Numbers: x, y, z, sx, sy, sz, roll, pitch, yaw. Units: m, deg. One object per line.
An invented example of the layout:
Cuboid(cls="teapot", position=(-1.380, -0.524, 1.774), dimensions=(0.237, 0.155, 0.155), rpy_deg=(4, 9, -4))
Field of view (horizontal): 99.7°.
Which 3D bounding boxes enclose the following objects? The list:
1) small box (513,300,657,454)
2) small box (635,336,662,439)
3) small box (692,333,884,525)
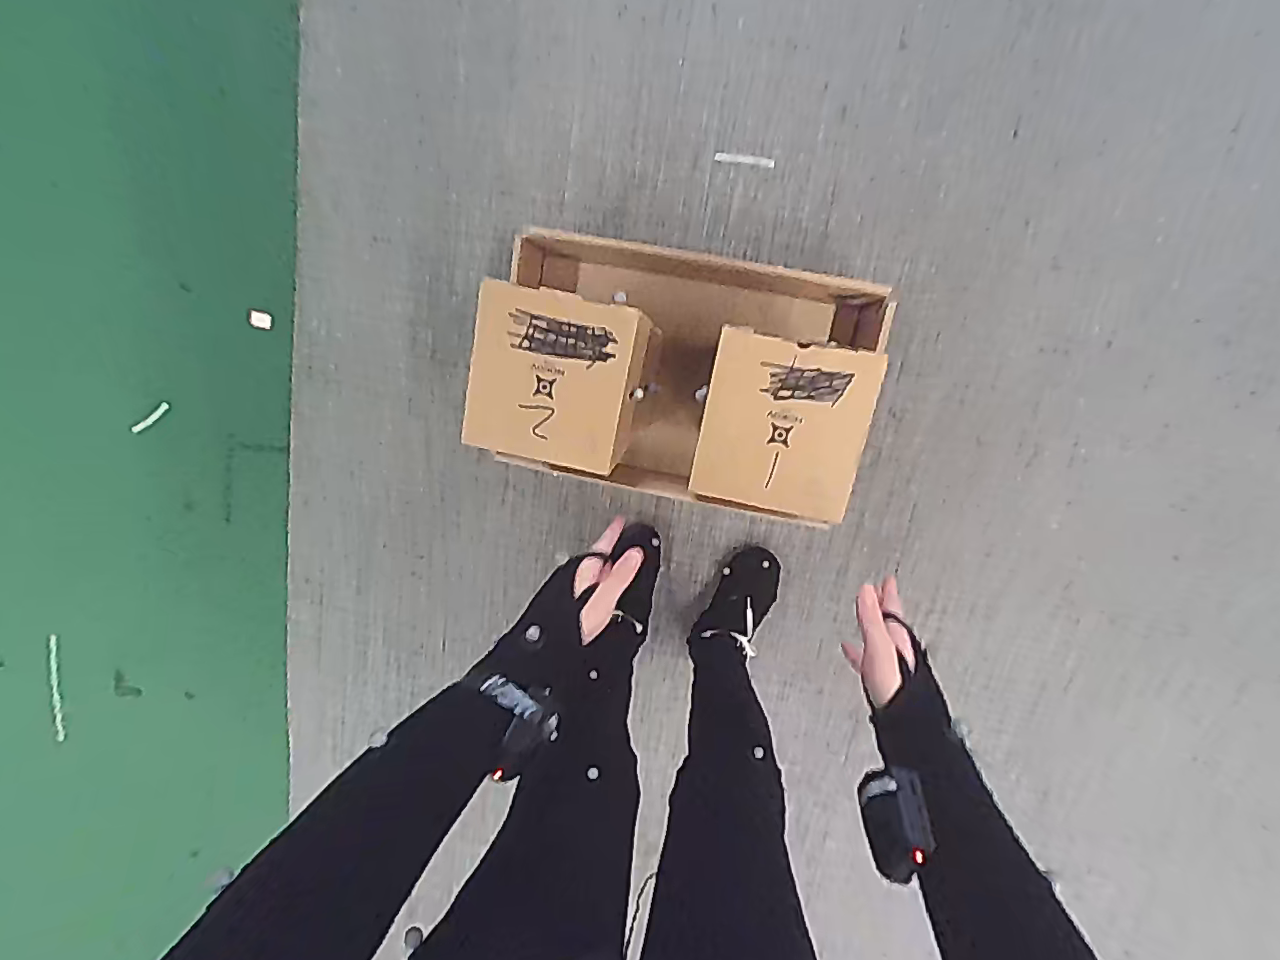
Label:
Cuboid(cls="small box", position=(-0.073, -0.152, 0.813), dimensions=(0.168, 0.176, 0.179), rpy_deg=(15, 102, 3))
Cuboid(cls="small box", position=(-0.054, -0.183, 0.974), dimensions=(0.168, 0.176, 0.179), rpy_deg=(10, 102, 2))
Cuboid(cls="small box", position=(0.160, -0.067, 0.642), dimensions=(0.168, 0.176, 0.179), rpy_deg=(12, 103, 6))
